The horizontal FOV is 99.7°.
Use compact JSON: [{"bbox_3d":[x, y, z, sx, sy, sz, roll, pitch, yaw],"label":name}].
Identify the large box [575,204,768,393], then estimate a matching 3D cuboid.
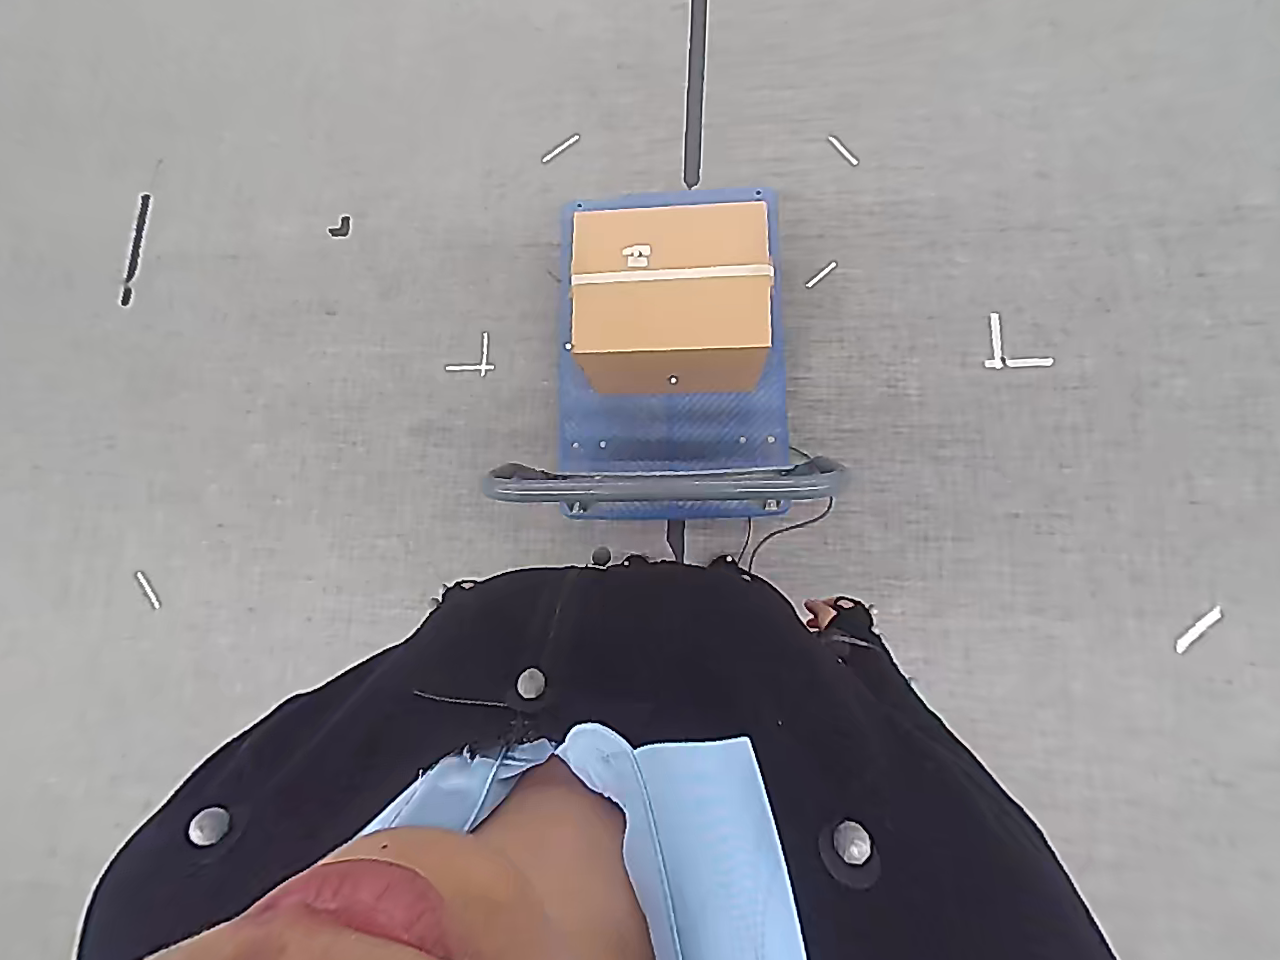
[{"bbox_3d":[0.078,-0.399,1.273,0.408,0.320,0.320,-1,82,7],"label":"large box"}]
